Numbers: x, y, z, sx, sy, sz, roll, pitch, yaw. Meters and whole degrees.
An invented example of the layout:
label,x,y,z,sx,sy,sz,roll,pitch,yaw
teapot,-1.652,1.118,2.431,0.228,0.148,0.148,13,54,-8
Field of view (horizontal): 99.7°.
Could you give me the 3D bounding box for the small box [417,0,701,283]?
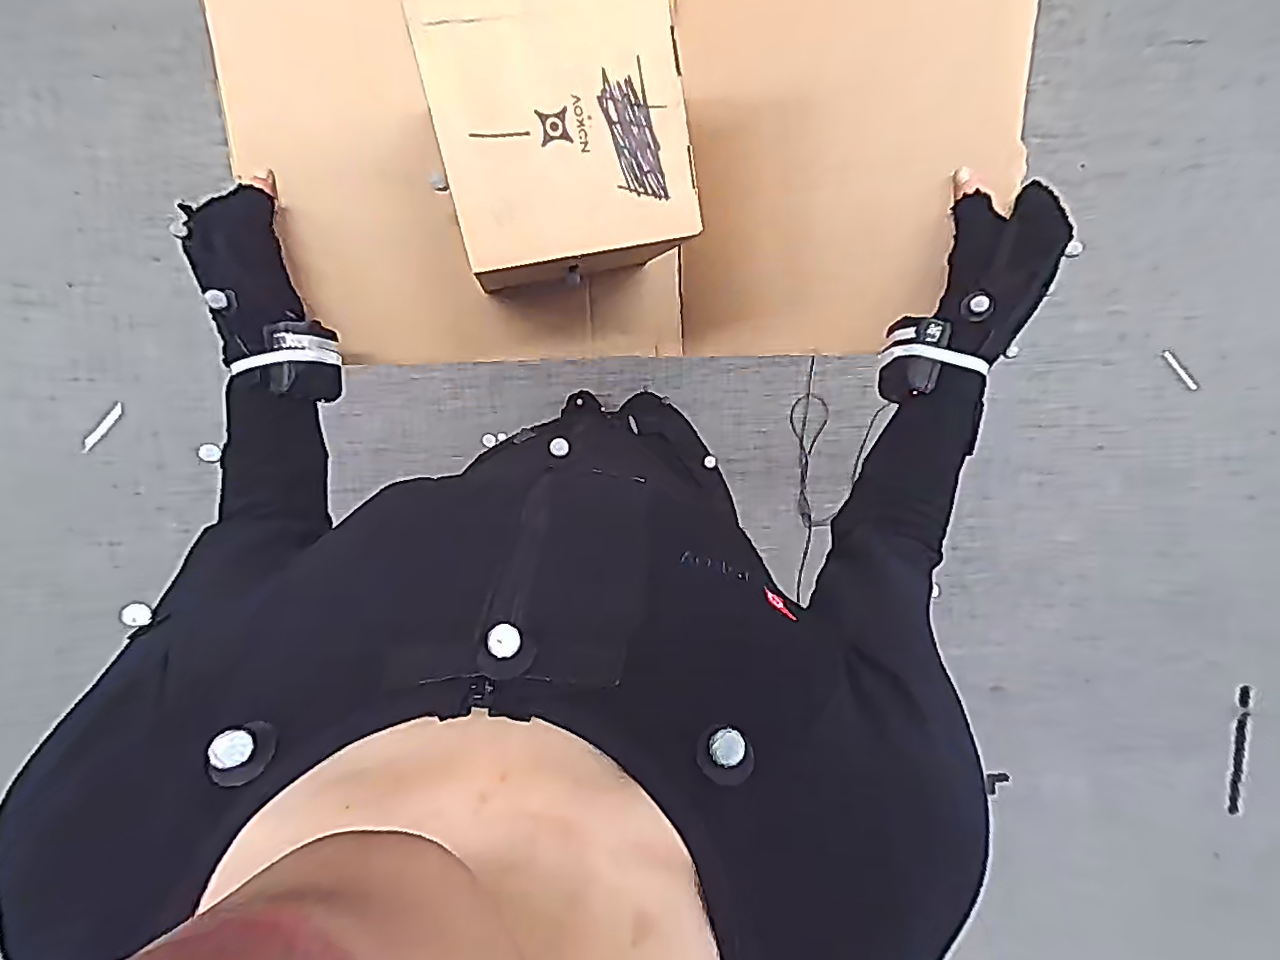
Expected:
label,x,y,z,sx,sy,sz,roll,pitch,yaw
small box,-0.066,-0.270,0.457,0.179,0.176,0.168,-14,108,-9
